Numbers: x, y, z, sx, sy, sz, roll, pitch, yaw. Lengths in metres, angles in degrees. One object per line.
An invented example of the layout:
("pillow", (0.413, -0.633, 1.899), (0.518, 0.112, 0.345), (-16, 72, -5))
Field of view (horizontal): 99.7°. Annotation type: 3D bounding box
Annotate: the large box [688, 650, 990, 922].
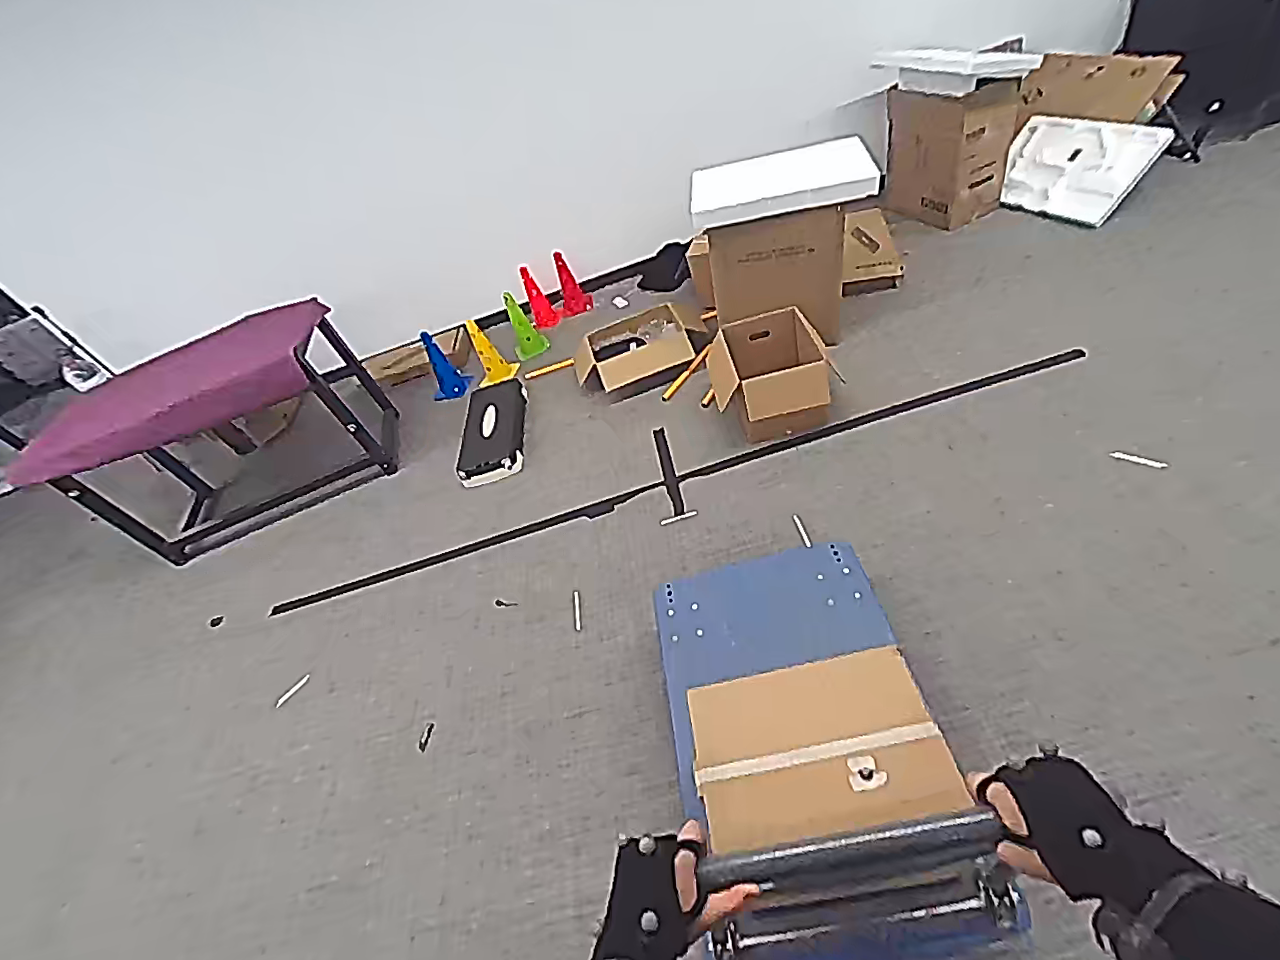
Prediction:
("large box", (0.333, 0.568, 0.996), (0.408, 0.320, 0.320), (-15, 44, 6))
